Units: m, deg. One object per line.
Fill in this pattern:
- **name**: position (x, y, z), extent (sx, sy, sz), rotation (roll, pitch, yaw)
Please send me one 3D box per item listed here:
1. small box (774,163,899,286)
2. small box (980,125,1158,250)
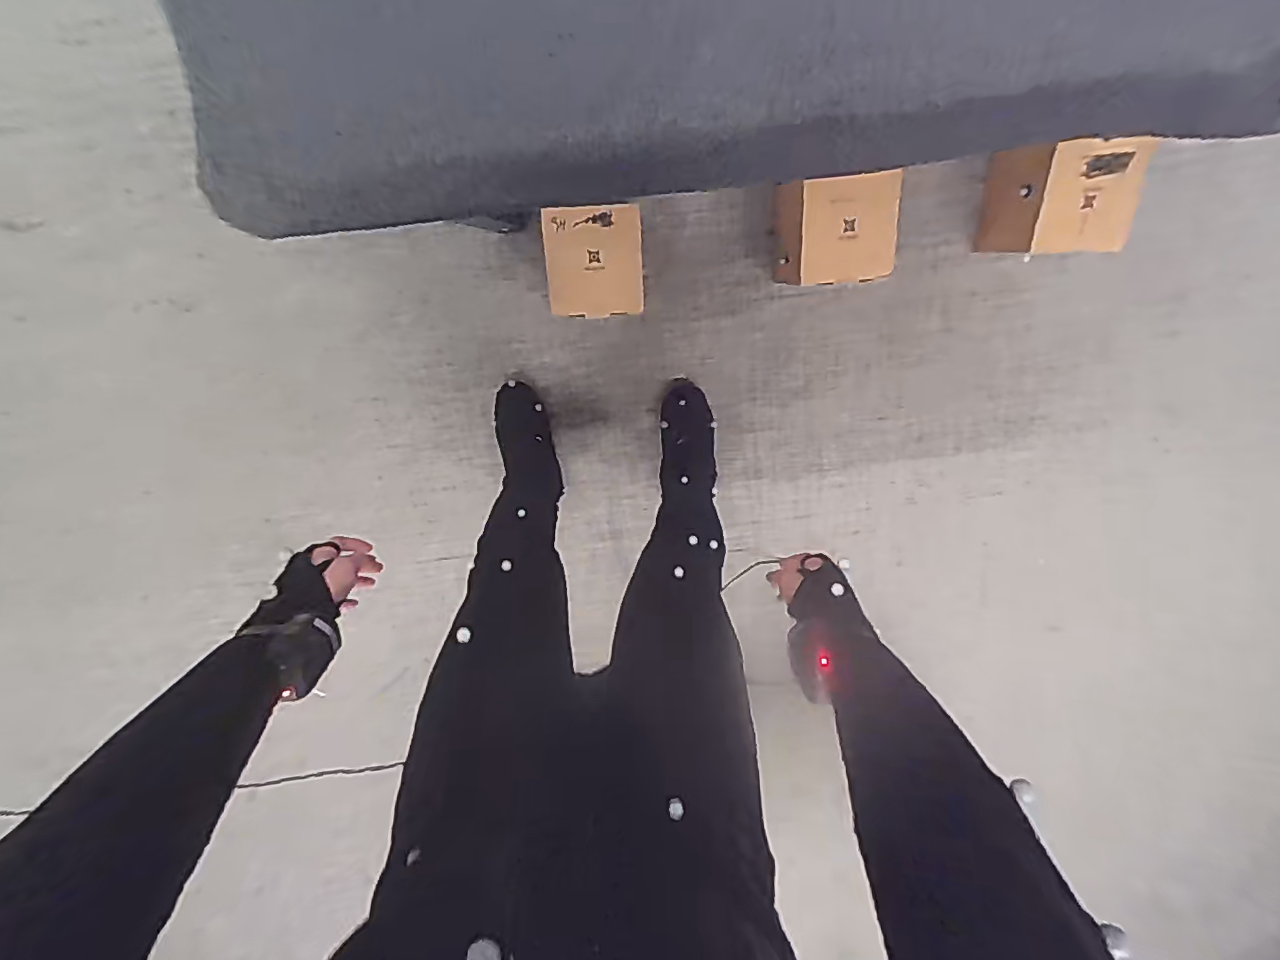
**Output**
- **small box**: position (0.346, -0.455, 0.982), extent (0.168, 0.176, 0.179), rotation (-6, 110, 0)
- **small box**: position (0.744, -0.509, 0.962), extent (0.168, 0.176, 0.179), rotation (-2, 112, 0)
